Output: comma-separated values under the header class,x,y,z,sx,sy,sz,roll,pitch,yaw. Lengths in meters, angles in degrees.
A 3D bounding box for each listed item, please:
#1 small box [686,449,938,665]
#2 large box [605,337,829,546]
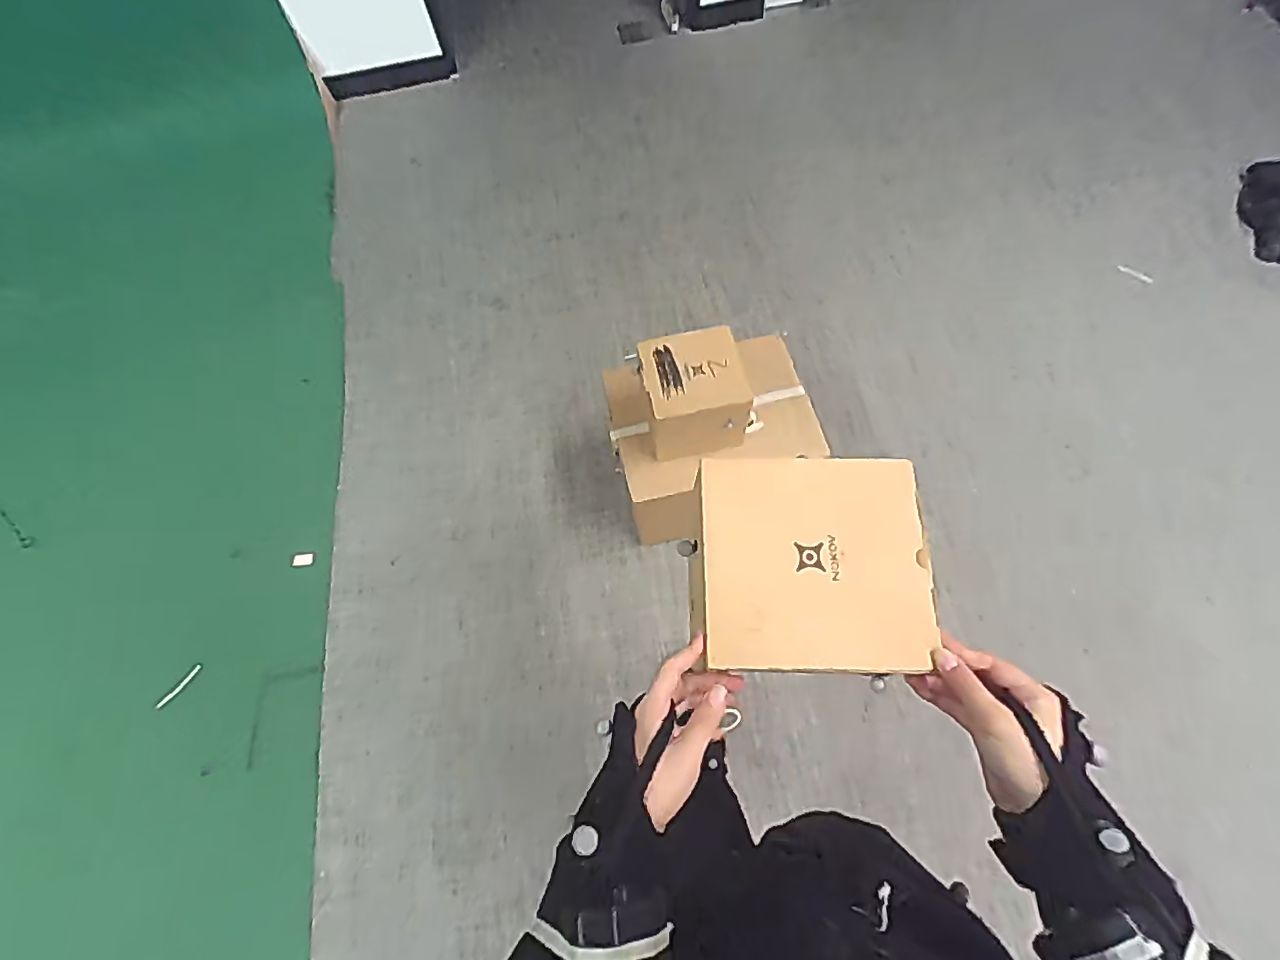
class,x,y,z,sx,sy,sz,roll,pitch,yaw
small box,0.133,0.080,0.496,0.179,0.176,0.168,0,70,0
large box,0.156,-0.074,1.251,0.408,0.320,0.320,-13,67,-3
